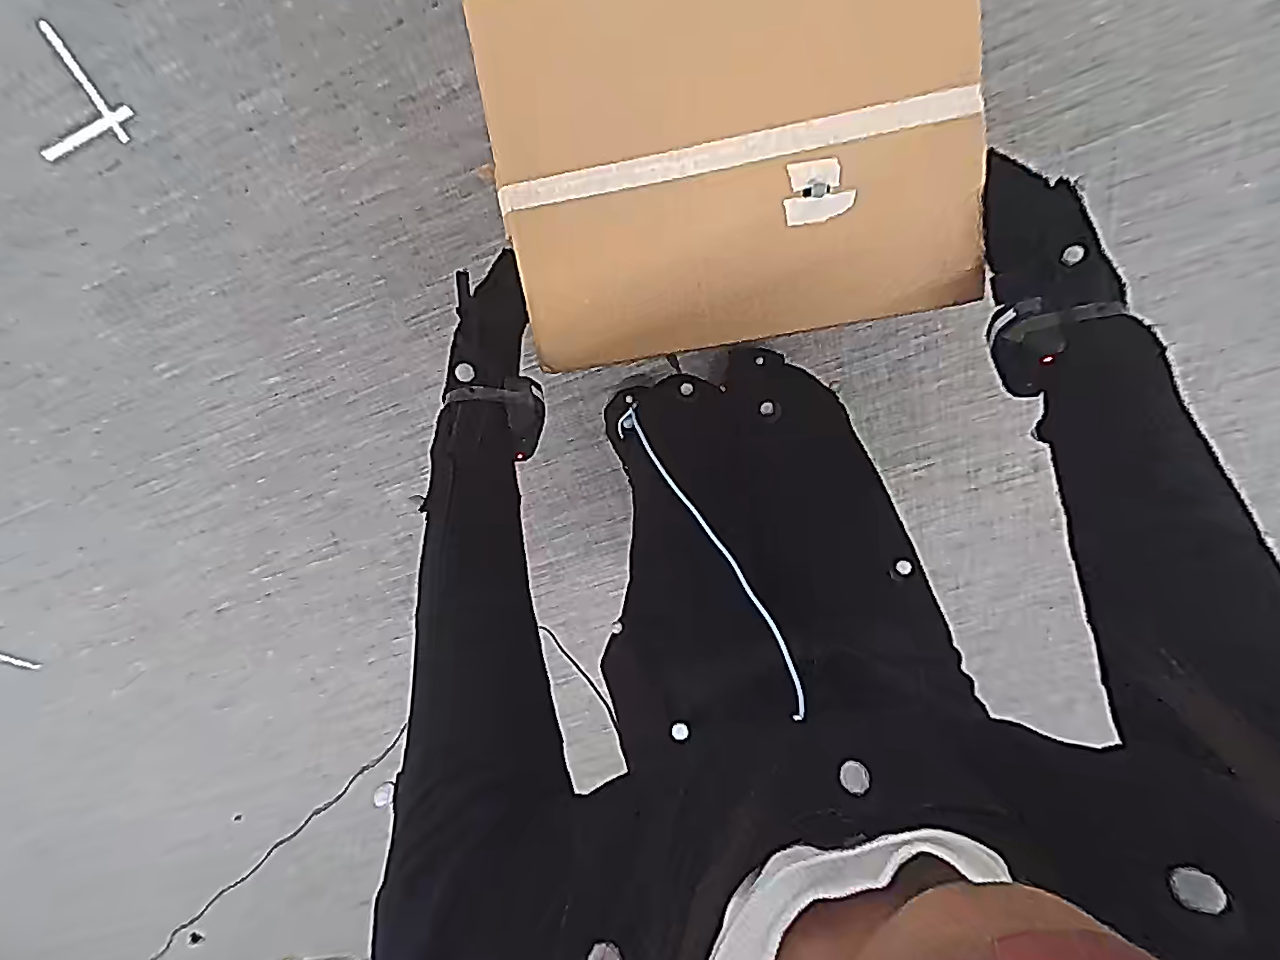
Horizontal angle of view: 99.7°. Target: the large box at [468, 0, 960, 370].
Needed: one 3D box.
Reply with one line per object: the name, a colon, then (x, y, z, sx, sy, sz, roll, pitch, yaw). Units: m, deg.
large box: (0.079, -0.319, 0.623, 0.408, 0.320, 0.320, -9, 103, 6)
